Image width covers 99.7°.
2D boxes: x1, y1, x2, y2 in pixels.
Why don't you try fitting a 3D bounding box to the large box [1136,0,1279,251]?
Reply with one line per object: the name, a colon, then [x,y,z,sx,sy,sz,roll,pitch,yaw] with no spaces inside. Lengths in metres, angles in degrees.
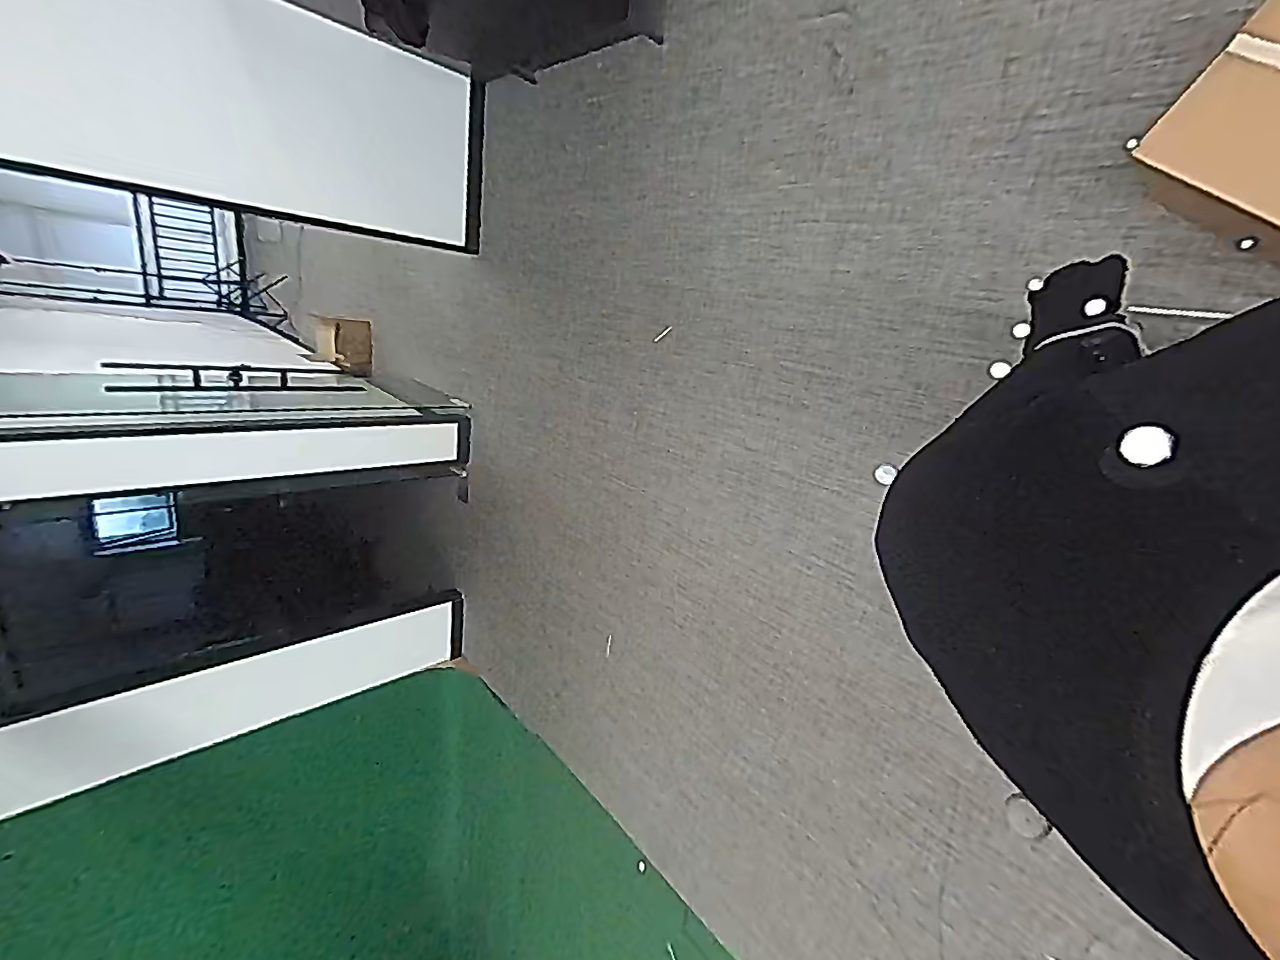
large box: [1.083,-0.518,0.795,0.408,0.320,0.320,54,131,28]
